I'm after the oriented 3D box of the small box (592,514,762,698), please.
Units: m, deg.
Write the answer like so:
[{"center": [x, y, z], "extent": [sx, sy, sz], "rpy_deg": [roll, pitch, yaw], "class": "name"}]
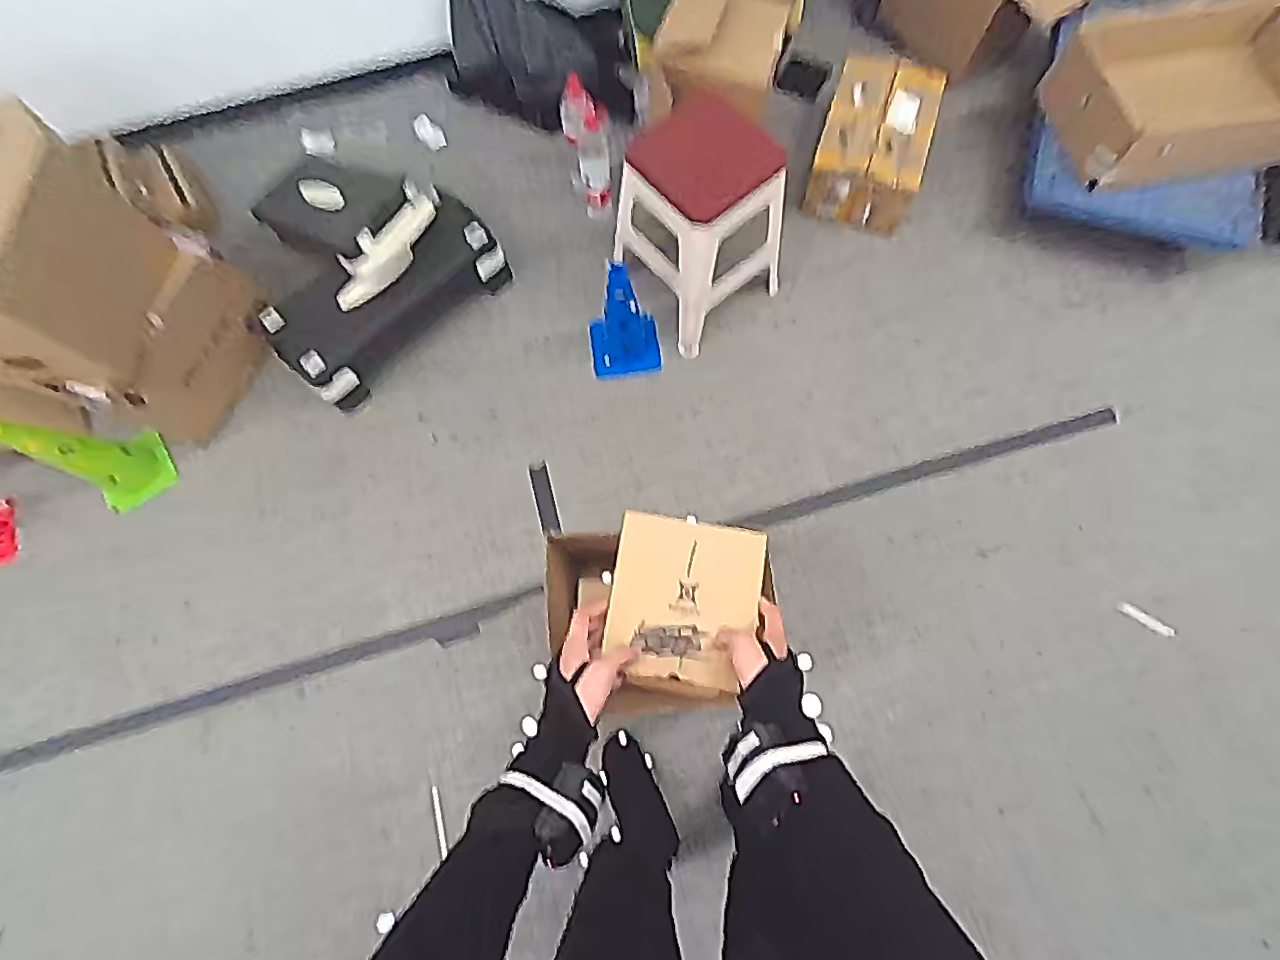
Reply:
[{"center": [0.042, 0.151, 0.673], "extent": [0.168, 0.176, 0.179], "rpy_deg": [10, 79, 0], "class": "small box"}]
